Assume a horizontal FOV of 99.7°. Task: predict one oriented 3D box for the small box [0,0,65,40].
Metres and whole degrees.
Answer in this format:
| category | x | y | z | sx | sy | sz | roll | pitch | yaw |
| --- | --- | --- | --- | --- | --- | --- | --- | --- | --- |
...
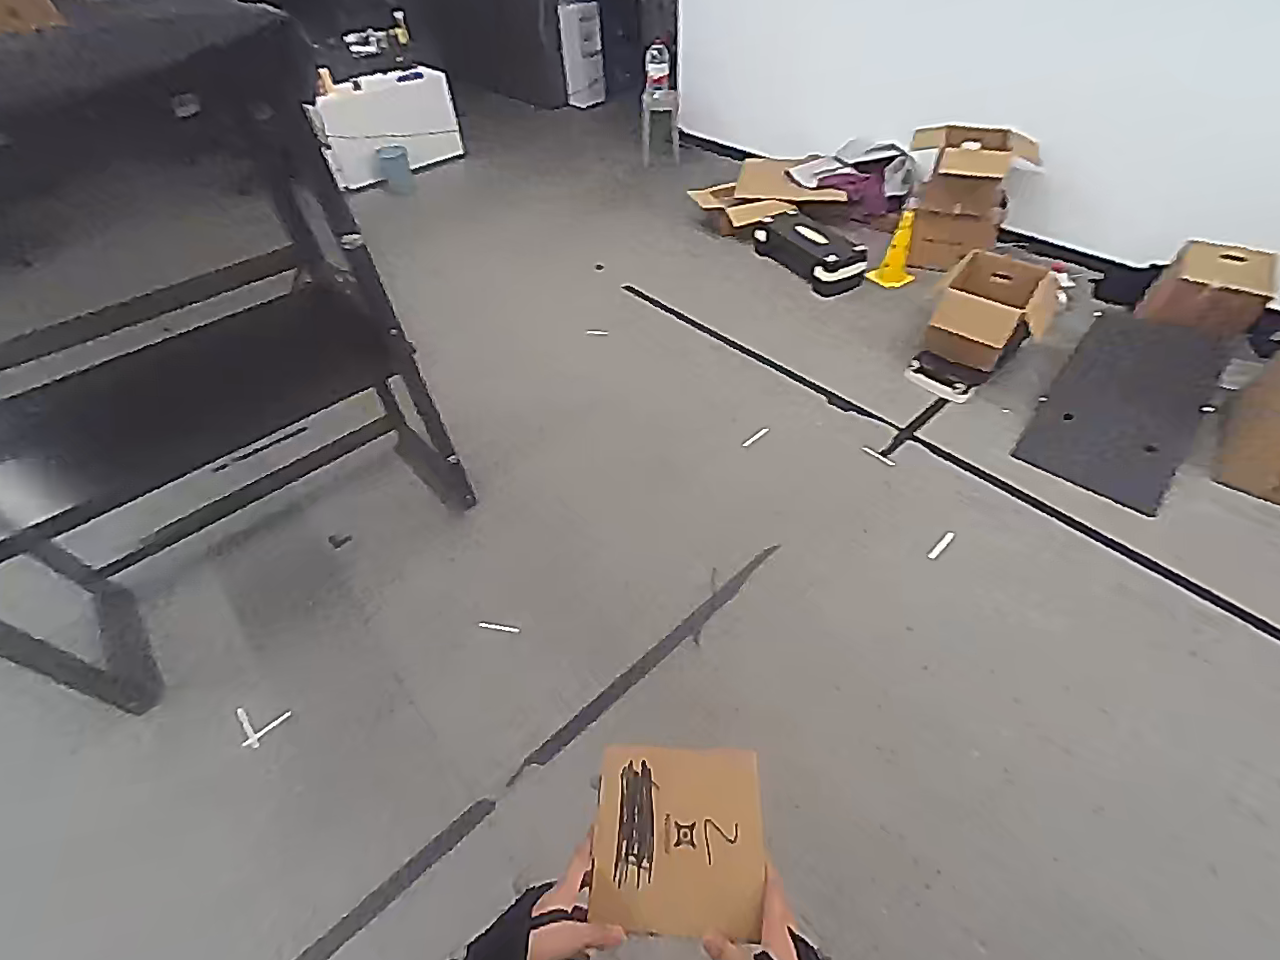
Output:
| category | x | y | z | sx | sy | sz | roll | pitch | yaw |
| --- | --- | --- | --- | --- | --- | --- | --- | --- | --- |
| small box | -1.198 | -0.904 | 0.969 | 0.168 | 0.176 | 0.179 | -36 | 57 | -26 |
